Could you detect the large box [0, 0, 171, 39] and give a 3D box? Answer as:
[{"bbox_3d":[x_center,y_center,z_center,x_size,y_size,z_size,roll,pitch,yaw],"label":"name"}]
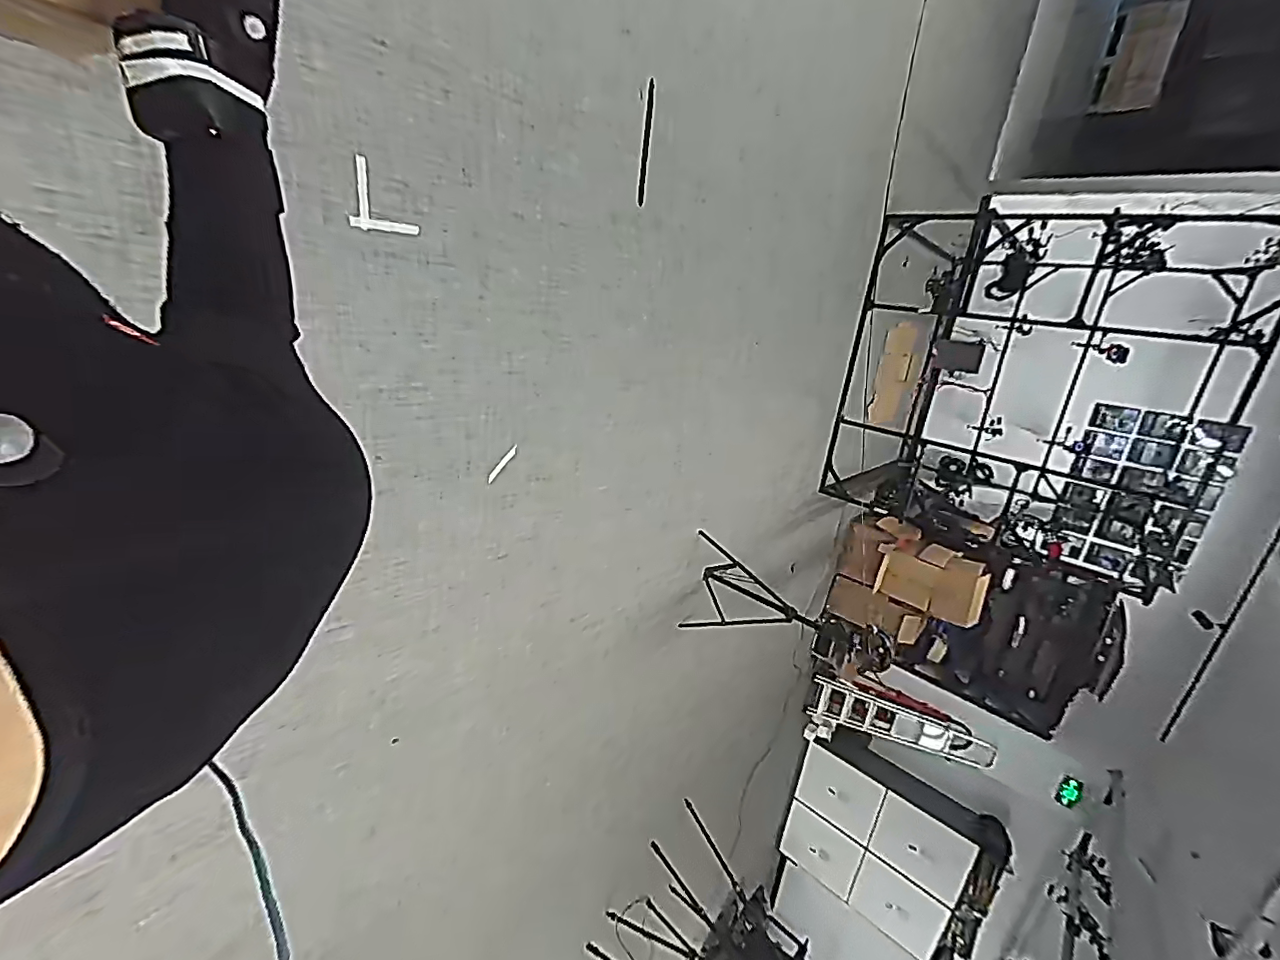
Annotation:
[{"bbox_3d":[-0.552,-0.495,0.267,0.408,0.320,0.320,-16,125,-53],"label":"large box"}]
